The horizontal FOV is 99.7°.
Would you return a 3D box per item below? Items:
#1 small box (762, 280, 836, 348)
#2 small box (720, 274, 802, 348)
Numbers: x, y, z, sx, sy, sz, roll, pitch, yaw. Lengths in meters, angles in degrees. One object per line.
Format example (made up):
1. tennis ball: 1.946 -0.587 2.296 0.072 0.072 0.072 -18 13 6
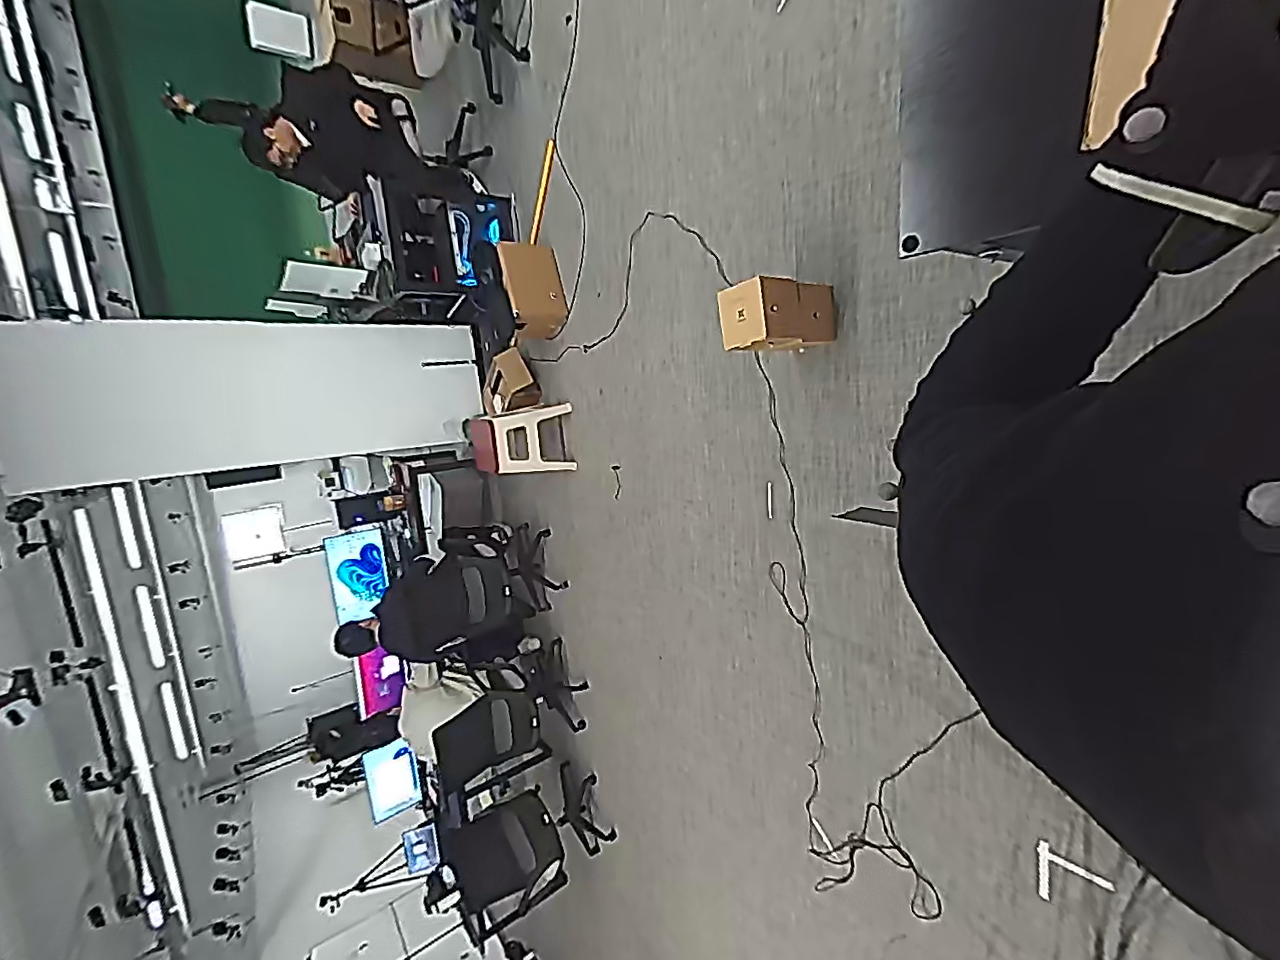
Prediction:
1. small box: 0.491 -0.514 1.692 0.168 0.176 0.179 3 102 54
2. small box: 0.361 -0.494 1.597 0.168 0.176 0.179 -2 97 53
